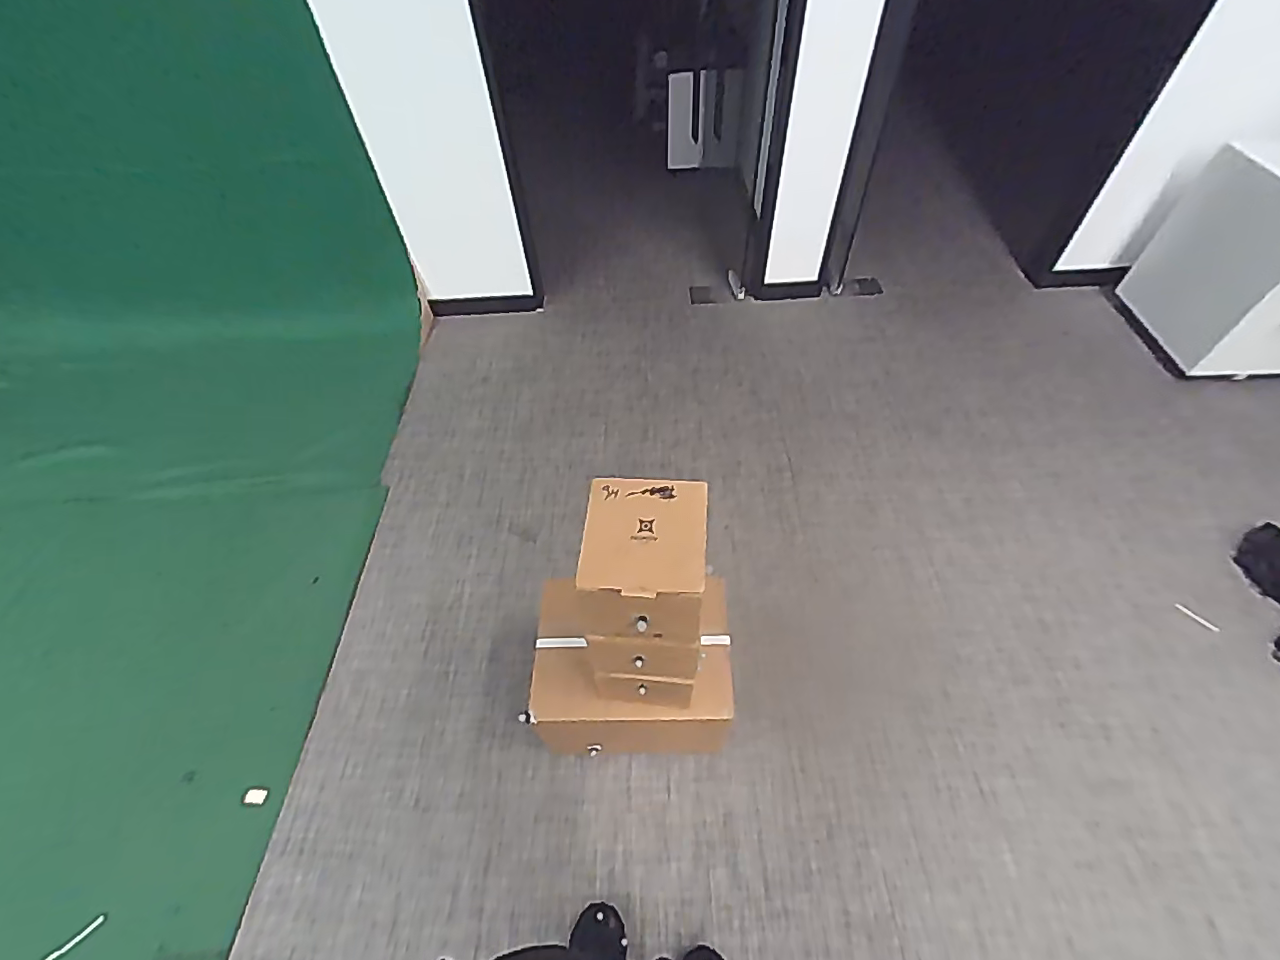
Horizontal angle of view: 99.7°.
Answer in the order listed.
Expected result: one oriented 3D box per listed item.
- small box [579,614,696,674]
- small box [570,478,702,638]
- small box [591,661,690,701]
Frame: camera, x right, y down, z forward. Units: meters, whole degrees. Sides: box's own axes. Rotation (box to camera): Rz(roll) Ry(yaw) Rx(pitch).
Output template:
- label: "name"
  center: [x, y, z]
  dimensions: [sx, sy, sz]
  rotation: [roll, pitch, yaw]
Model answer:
- label: "small box"
  center: [0.007, 0.221, 0.917]
  dimensions: [0.179, 0.176, 0.168]
  rotation: [2, 55, 7]
- label: "small box"
  center: [0.004, 0.118, 0.789]
  dimensions: [0.168, 0.176, 0.179]
  rotation: [3, 56, 5]
- label: "small box"
  center: [0.010, 0.320, 1.047]
  dimensions: [0.179, 0.176, 0.168]
  rotation: [4, 55, 4]
